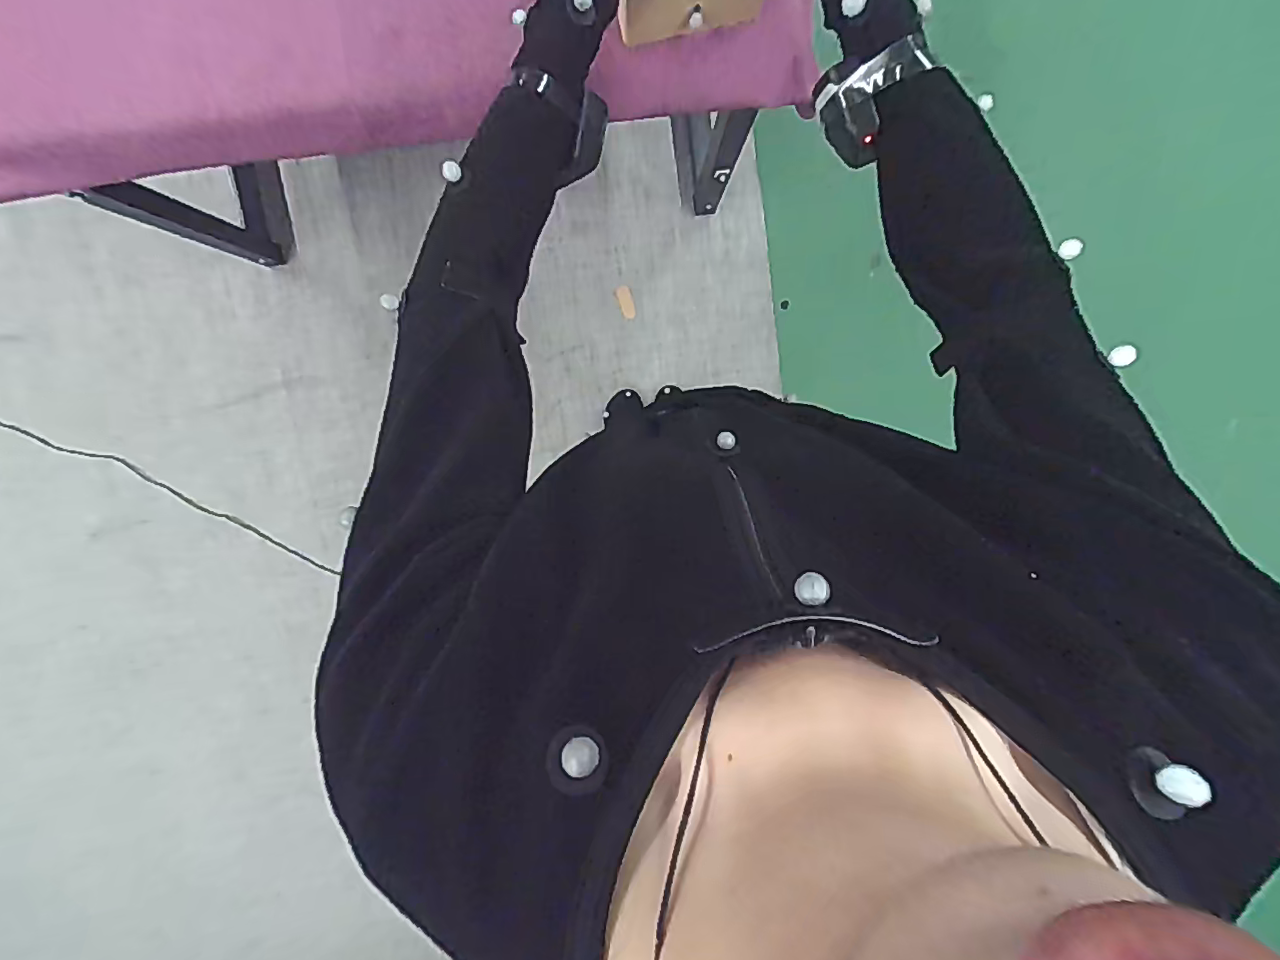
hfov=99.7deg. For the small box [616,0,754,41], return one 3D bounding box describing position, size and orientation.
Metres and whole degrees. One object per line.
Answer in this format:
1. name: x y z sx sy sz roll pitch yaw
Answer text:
1. small box: 0.051 -0.636 0.595 0.179 0.176 0.168 -11 99 2
